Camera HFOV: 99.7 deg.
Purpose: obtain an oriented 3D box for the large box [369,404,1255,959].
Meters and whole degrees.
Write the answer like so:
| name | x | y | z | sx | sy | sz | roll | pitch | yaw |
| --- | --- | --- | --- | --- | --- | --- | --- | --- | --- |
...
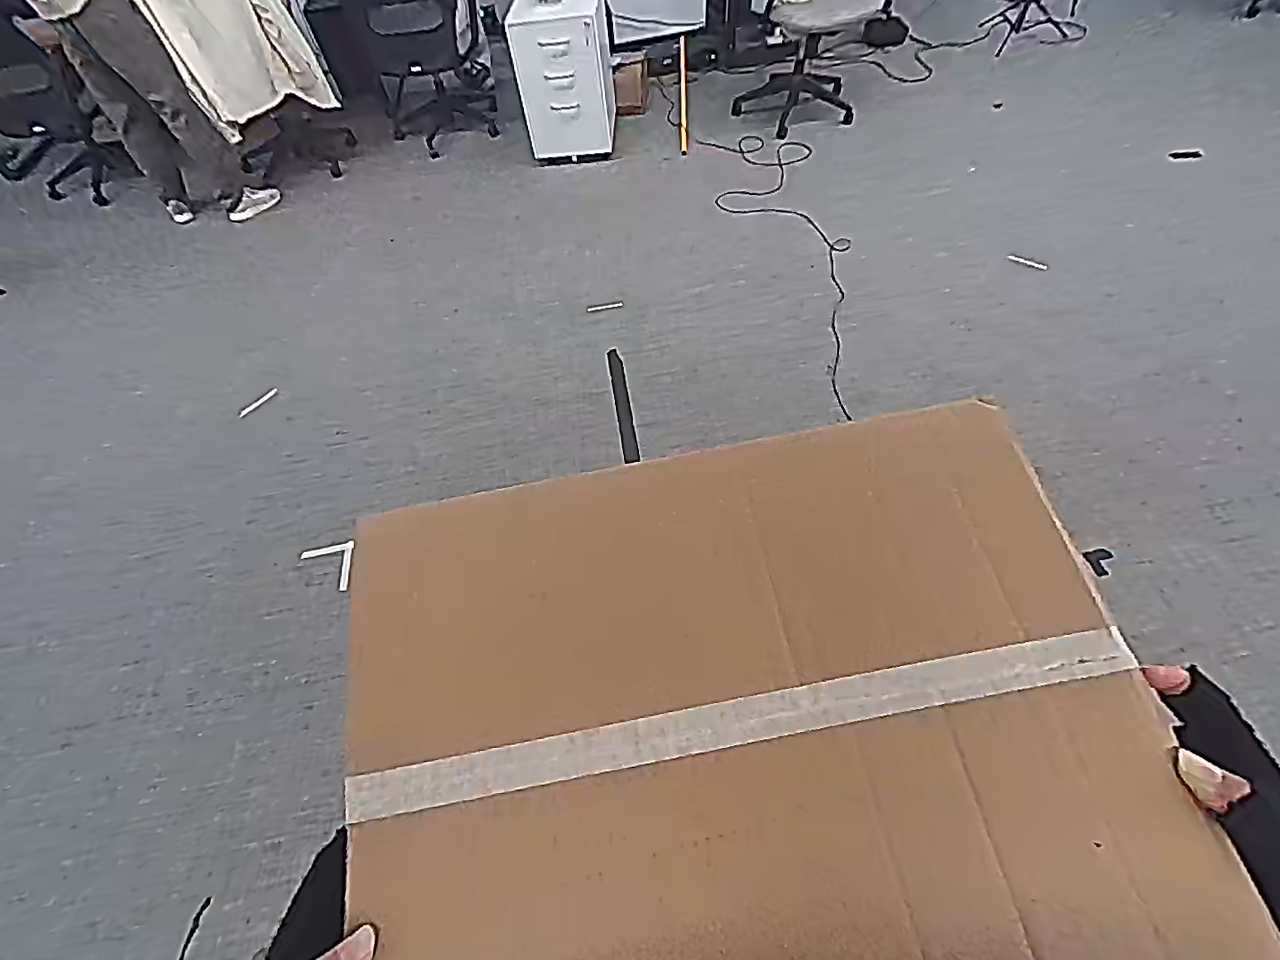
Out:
| name | x | y | z | sx | sy | sz | roll | pitch | yaw |
| --- | --- | --- | --- | --- | --- | --- | --- | --- | --- |
| large box | 0.060 | 0.185 | 0.428 | 0.408 | 0.320 | 0.320 | -11 | 67 | 0 |
